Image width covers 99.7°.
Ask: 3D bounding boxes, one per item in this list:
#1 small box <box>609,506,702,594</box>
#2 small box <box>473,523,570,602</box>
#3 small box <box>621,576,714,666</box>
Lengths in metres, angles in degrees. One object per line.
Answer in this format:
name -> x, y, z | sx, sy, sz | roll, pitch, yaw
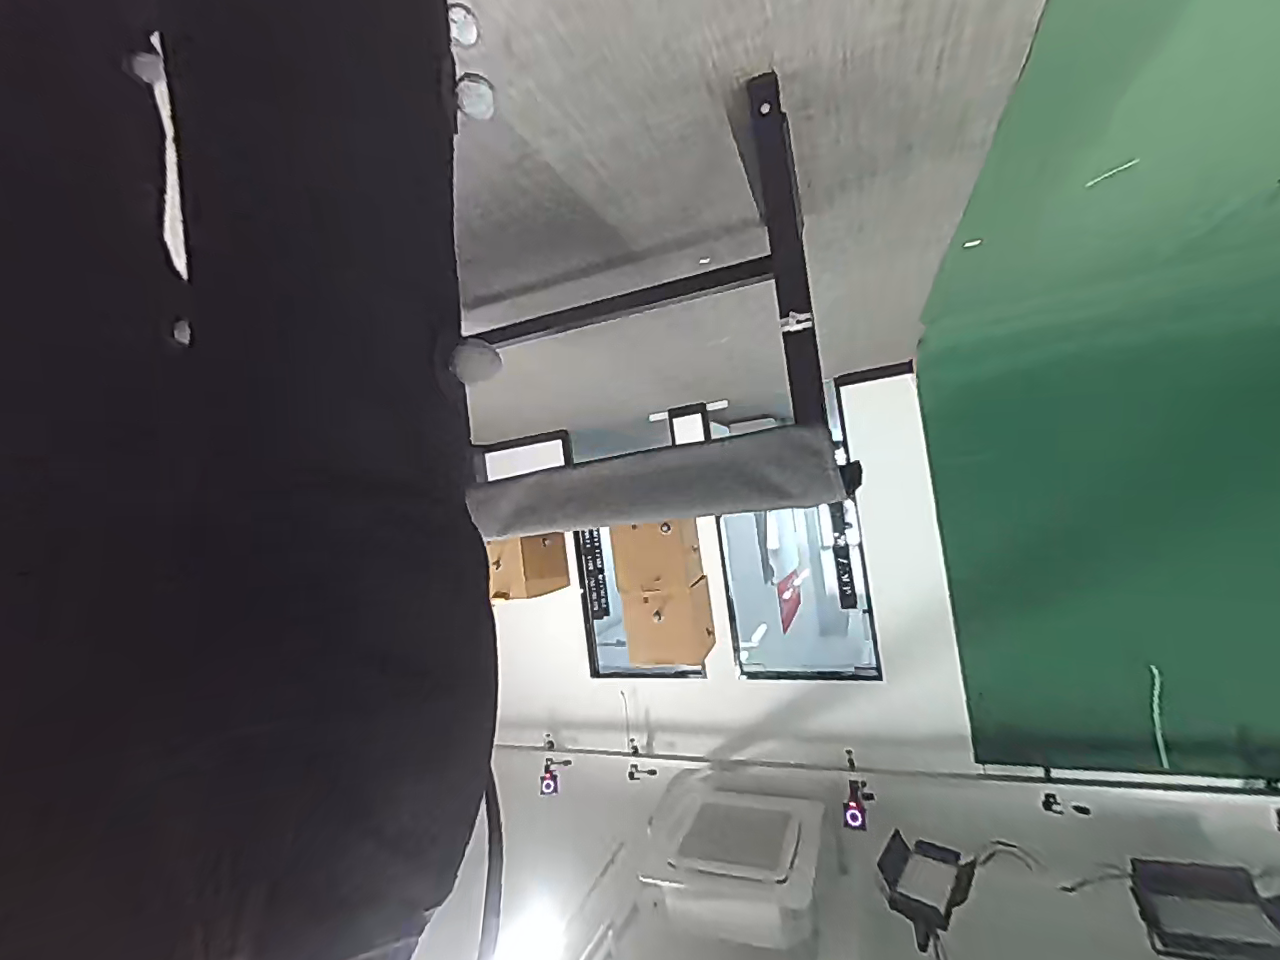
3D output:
small box -> 0.038, 0.156, 1.247 | 0.168, 0.176, 0.179 | -8, 178, 17
small box -> -0.305, 0.208, 1.385 | 0.168, 0.176, 0.179 | -9, 177, 29
small box -> 0.068, 0.319, 1.255 | 0.168, 0.176, 0.179 | -9, 177, 19
